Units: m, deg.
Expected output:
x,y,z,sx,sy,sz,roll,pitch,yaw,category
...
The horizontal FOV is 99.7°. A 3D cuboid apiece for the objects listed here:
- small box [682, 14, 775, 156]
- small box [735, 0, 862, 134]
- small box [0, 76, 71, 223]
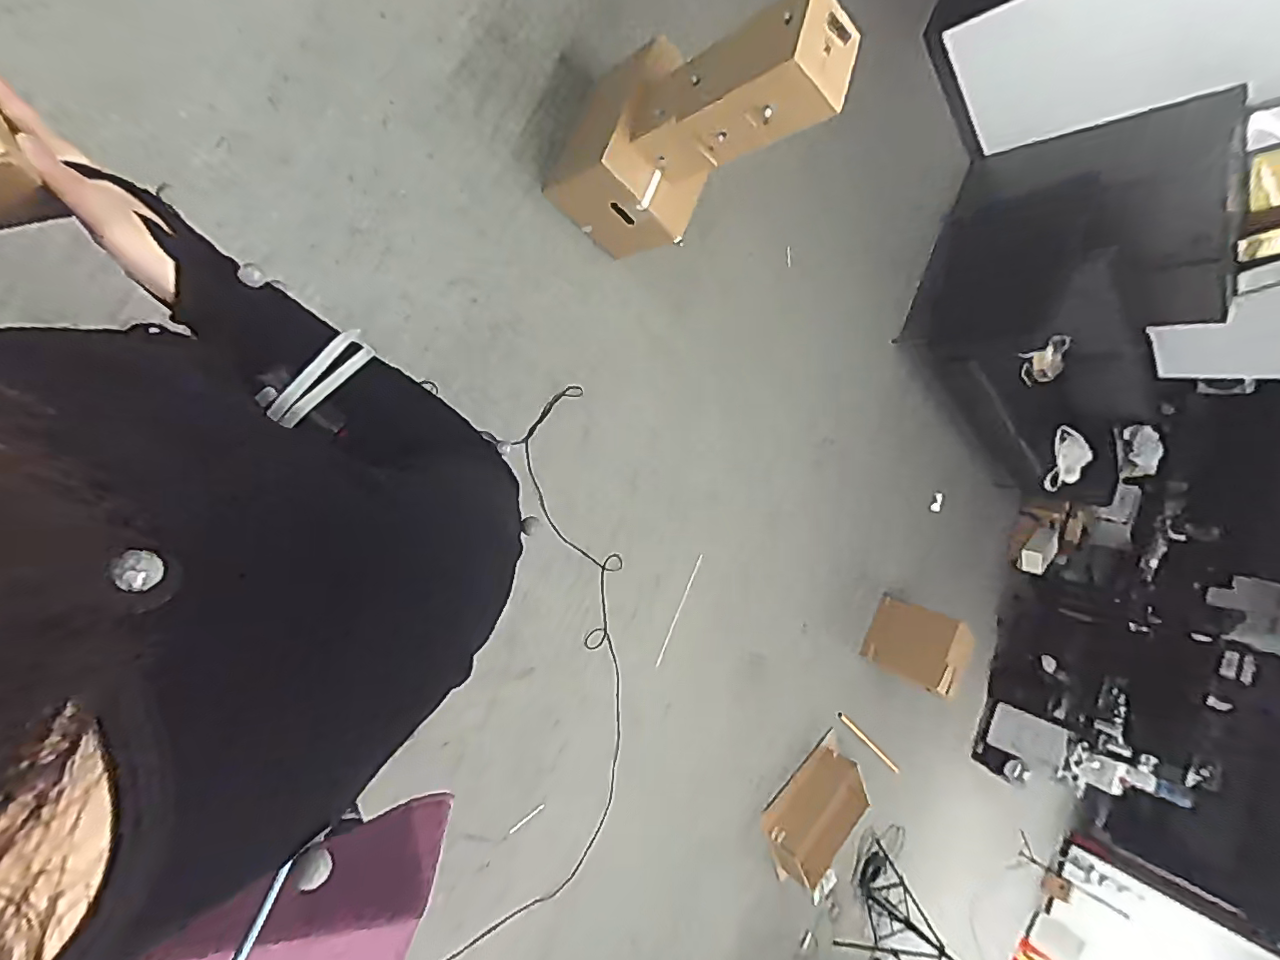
x,y,z,sx,sy,sz,roll,pitch,yaw,category
0.219,-0.887,1.238,0.168,0.176,0.179,18,89,-39,small box
0.320,-0.863,1.109,0.168,0.176,0.179,17,89,-38,small box
-0.431,-0.213,0.249,0.168,0.176,0.179,-32,123,-27,small box
